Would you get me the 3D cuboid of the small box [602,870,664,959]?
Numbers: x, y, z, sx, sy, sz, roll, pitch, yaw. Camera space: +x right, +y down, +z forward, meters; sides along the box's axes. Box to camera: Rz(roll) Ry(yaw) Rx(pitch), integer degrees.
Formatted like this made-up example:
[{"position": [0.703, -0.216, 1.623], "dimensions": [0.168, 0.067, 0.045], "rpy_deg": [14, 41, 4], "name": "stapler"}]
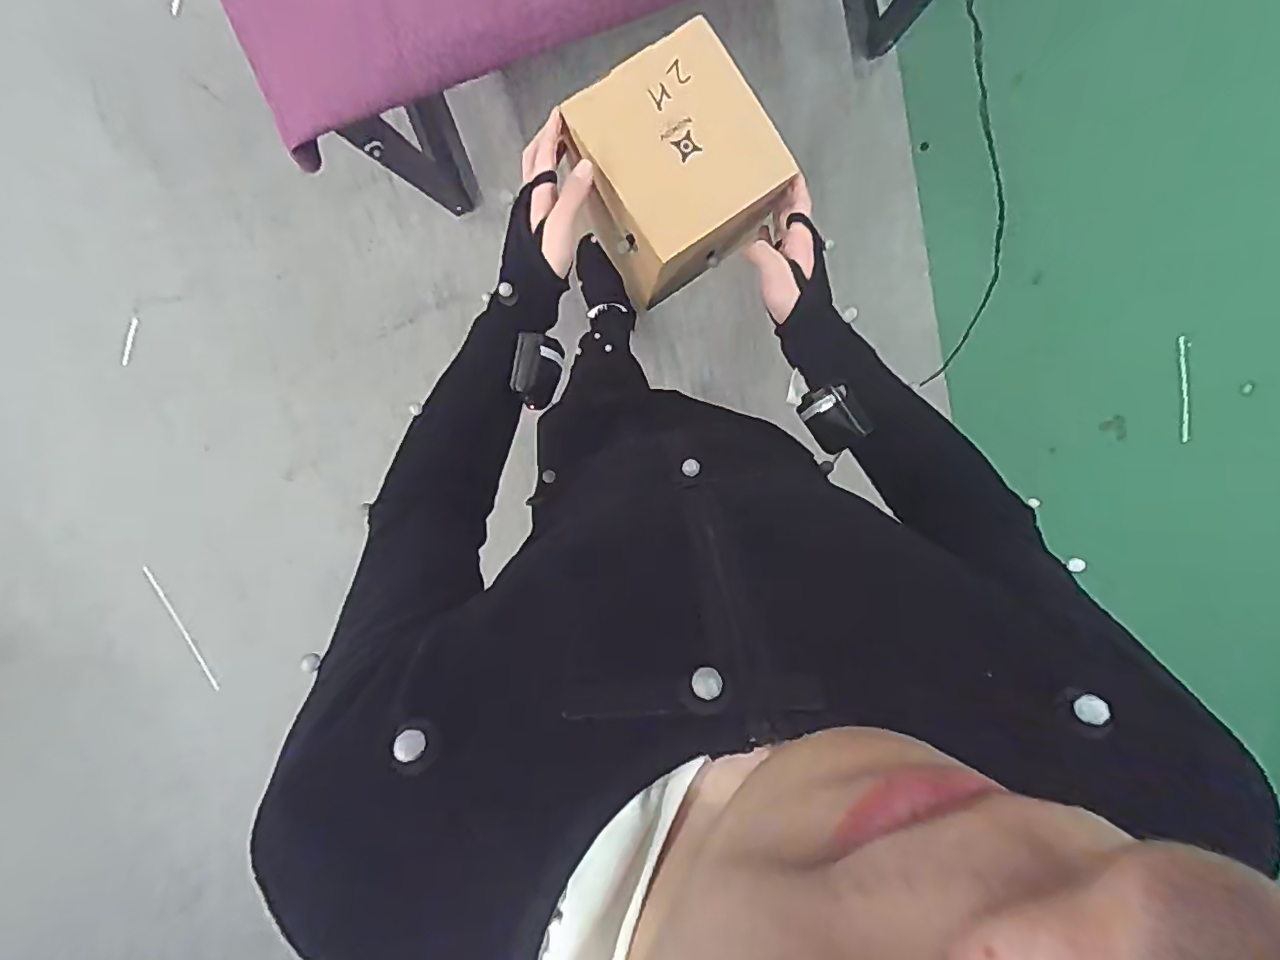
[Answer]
[{"position": [-0.020, 1.272, 1.555], "dimensions": [0.168, 0.176, 0.179], "rpy_deg": [3, 103, -1], "name": "small box"}]
